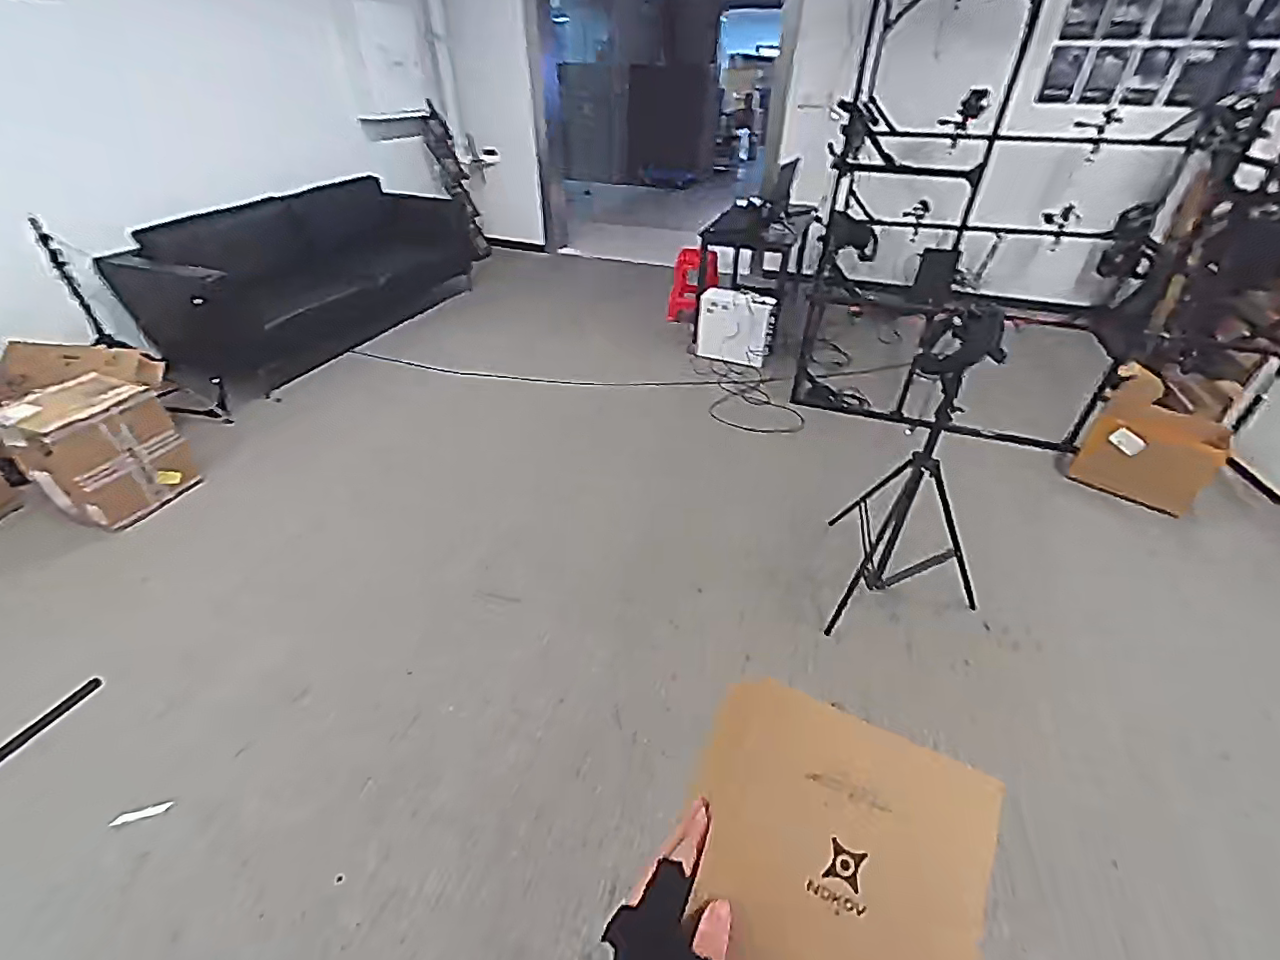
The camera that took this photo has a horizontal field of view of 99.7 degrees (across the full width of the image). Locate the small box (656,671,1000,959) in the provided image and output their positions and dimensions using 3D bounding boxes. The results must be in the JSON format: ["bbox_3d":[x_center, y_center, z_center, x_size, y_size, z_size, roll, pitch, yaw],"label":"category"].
[{"bbox_3d":[0.119,0.259,0.400,0.168,0.176,0.179,22,71,7],"label":"small box"}]
